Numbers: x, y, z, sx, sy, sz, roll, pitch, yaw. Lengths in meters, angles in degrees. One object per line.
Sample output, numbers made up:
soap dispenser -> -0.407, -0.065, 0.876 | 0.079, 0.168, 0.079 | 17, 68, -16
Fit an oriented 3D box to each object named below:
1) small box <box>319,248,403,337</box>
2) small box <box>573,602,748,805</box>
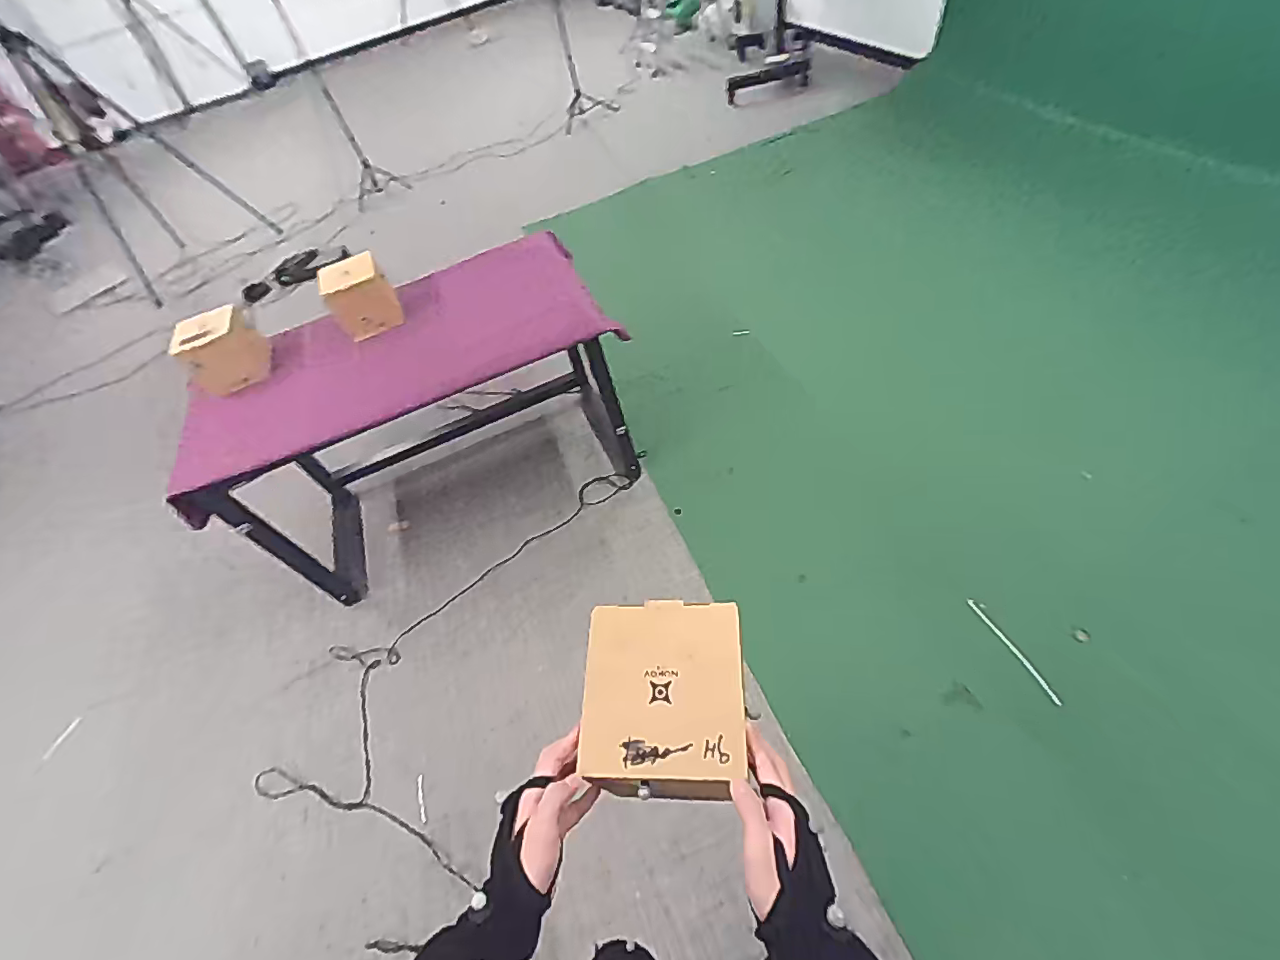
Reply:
small box -> -0.846, -0.569, 1.644 | 0.168, 0.176, 0.179 | -24, 52, -7
small box -> 0.034, 0.253, 0.612 | 0.168, 0.176, 0.179 | -4, 53, 10
